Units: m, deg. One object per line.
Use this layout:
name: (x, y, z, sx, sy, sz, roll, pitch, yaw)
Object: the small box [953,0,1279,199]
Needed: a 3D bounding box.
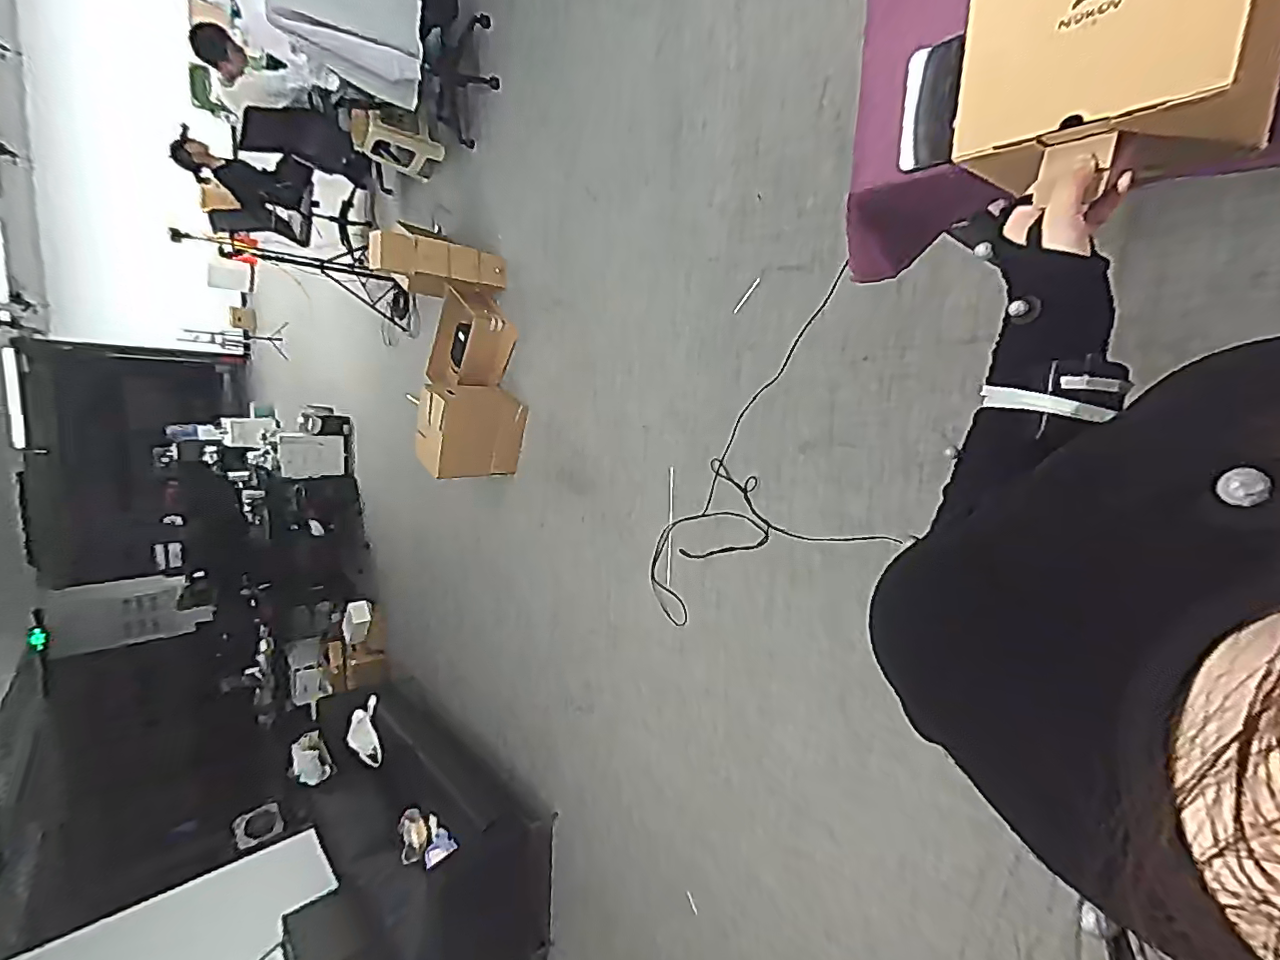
small box: (0.380, -0.346, 0.428, 0.168, 0.176, 0.179, 16, 110, 49)
